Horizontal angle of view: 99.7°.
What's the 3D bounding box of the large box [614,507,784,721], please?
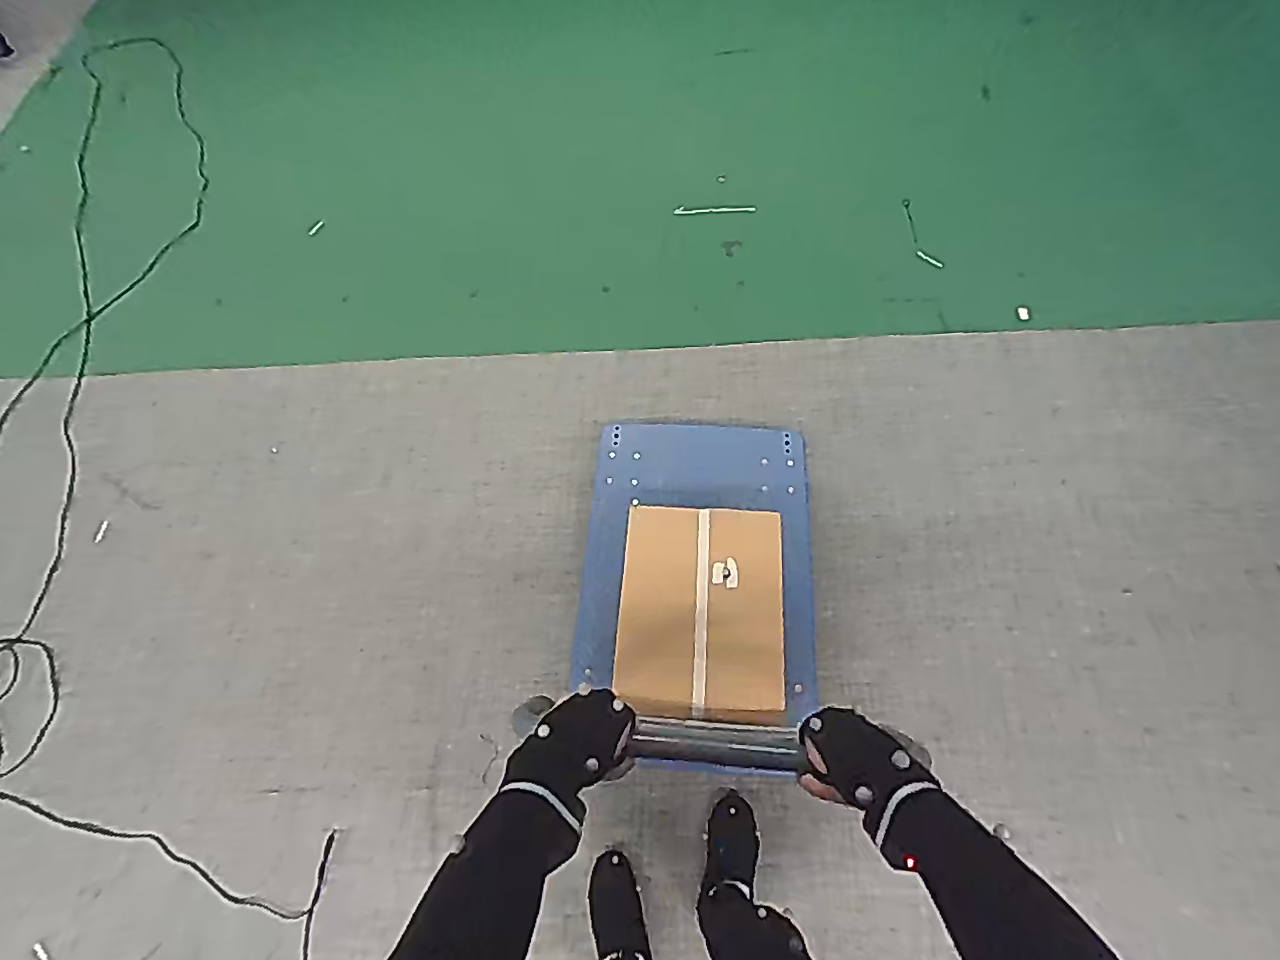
[{"bbox_3d":[0.125,0.306,1.196,0.320,0.320,0.408,3,64,4],"label":"large box"}]
